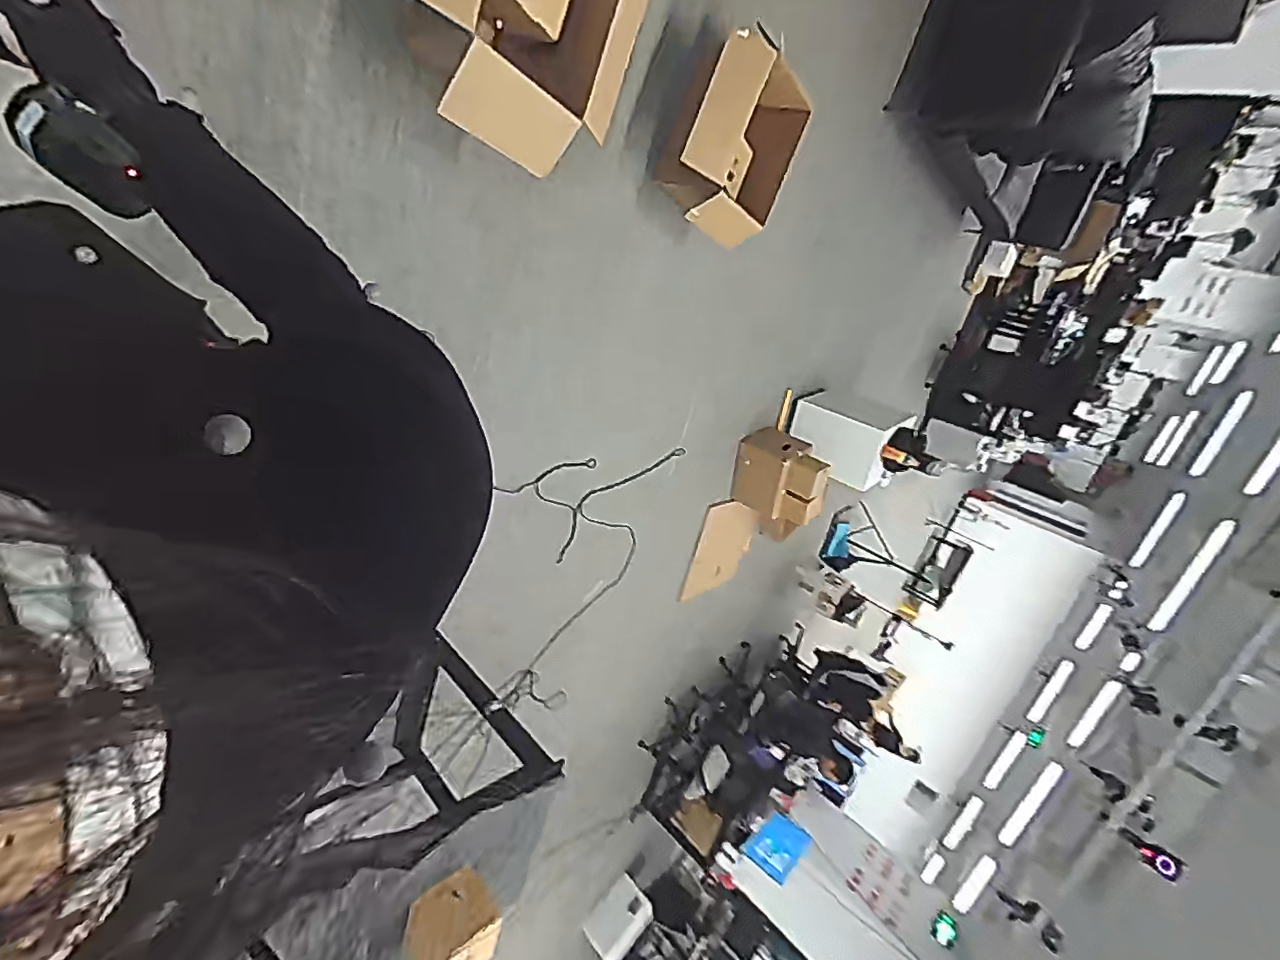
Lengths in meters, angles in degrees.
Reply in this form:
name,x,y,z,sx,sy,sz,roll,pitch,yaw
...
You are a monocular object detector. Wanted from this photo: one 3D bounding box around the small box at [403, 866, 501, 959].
name,x,y,z,sx,sy,sz,roll,pitch,yaw
small box,-0.487,1.155,1.390,0.168,0.176,0.179,-5,118,-50
